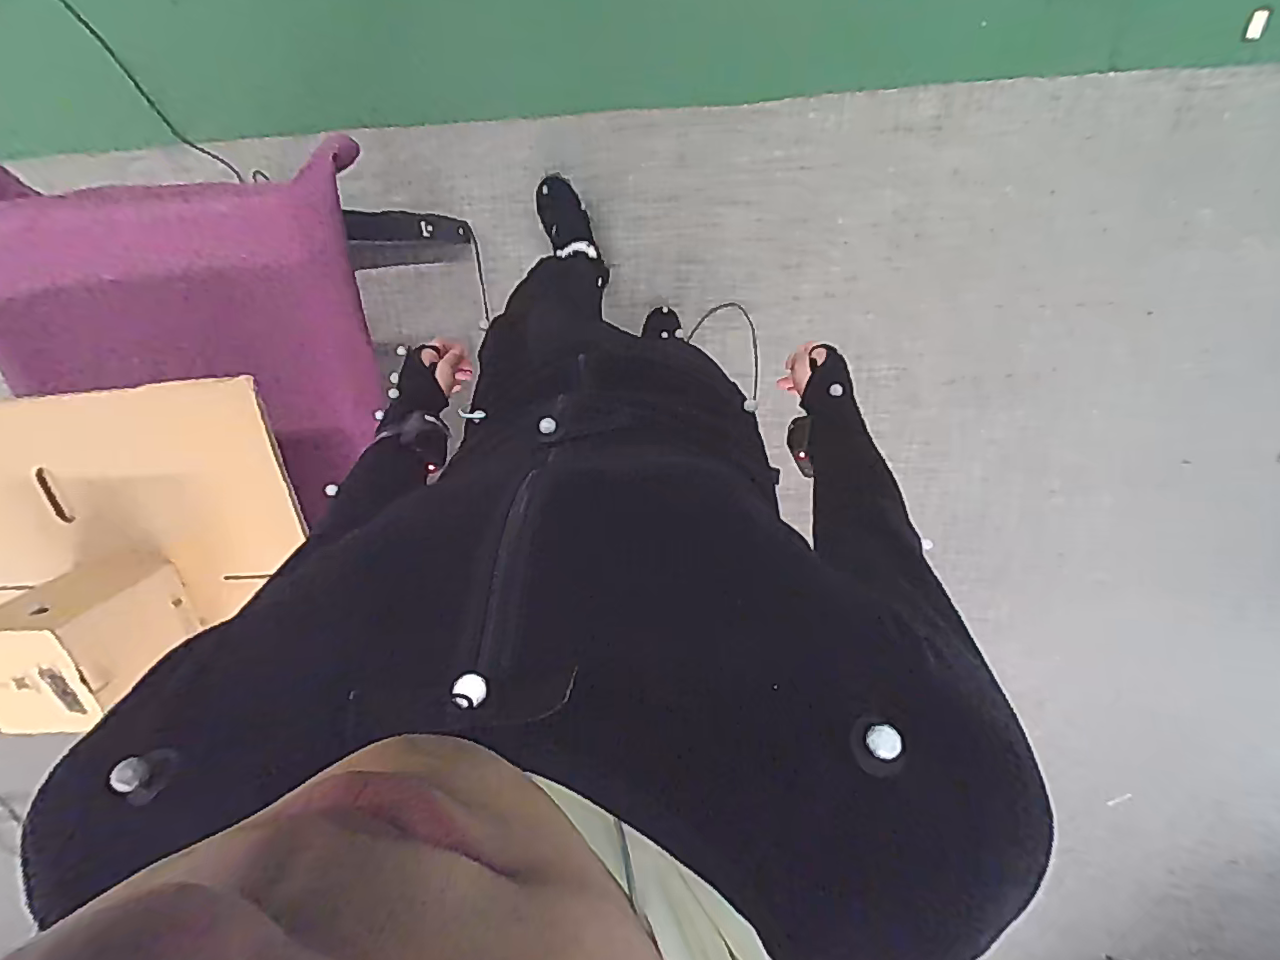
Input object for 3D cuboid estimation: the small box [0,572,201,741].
[{"bbox_3d":[-0.783,0.243,0.773,0.179,0.176,0.168,-4,110,7],"label":"small box"}]
